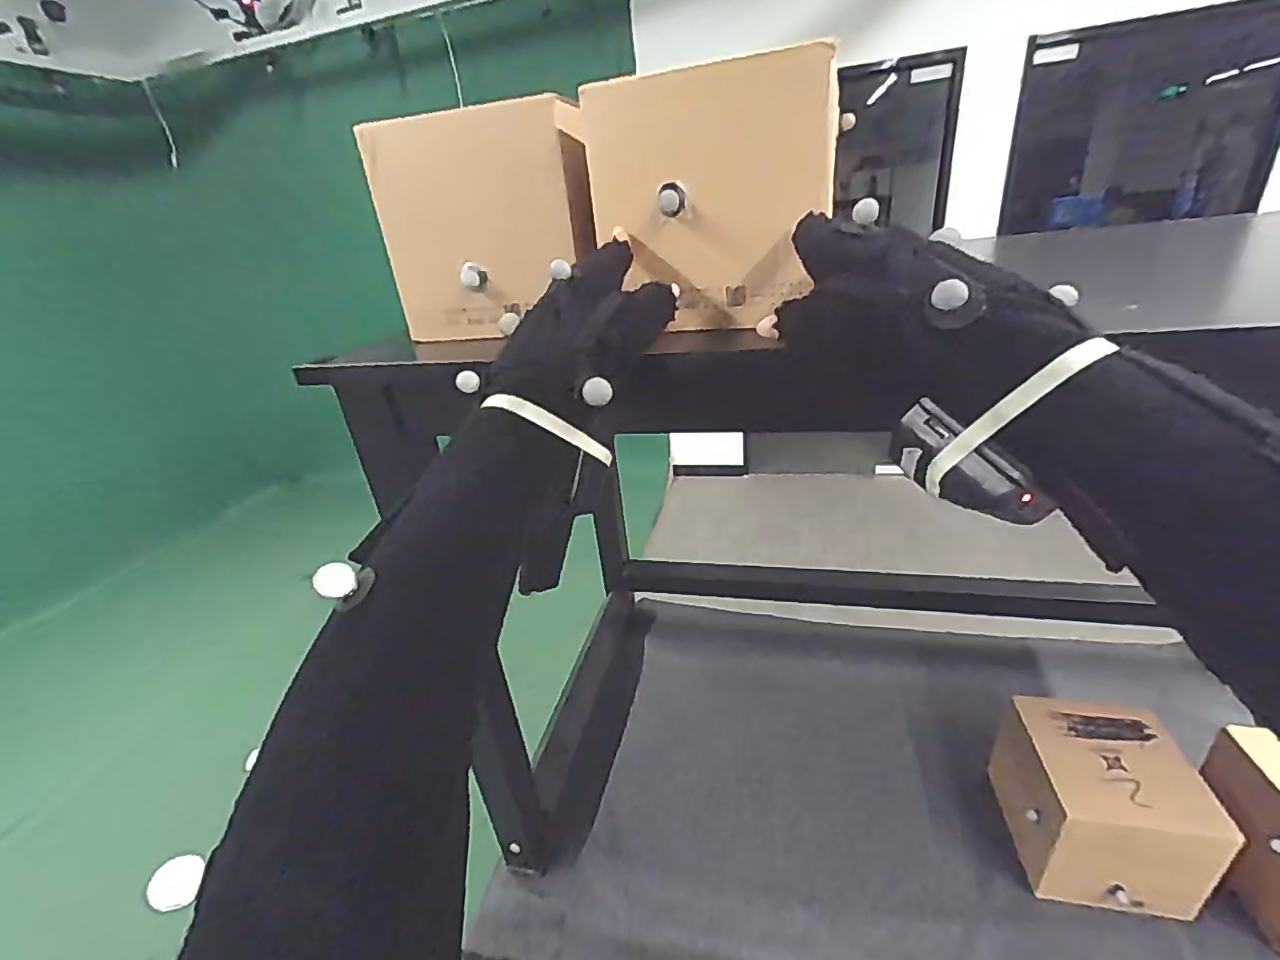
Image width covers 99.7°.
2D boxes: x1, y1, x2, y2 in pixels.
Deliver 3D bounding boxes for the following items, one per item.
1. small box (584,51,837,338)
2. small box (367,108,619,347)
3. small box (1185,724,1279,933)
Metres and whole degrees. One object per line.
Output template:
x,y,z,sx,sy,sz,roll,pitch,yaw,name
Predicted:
0.073,-0.216,0.446,0.168,0.176,0.179,3,27,19,small box
-0.109,-0.227,0.506,0.168,0.176,0.179,1,28,14,small box
0.806,0.421,0.628,0.168,0.176,0.179,0,26,14,small box
